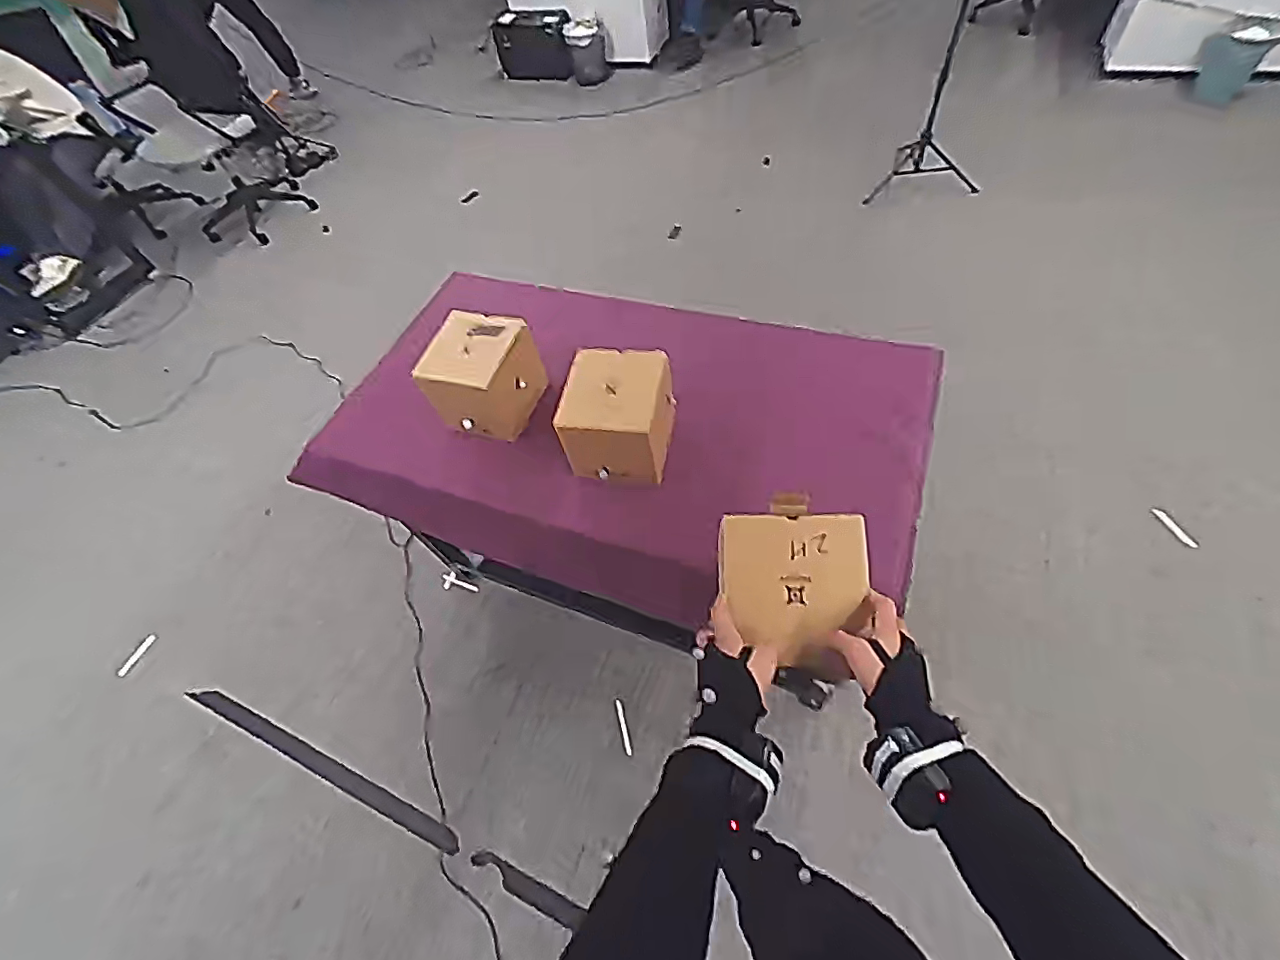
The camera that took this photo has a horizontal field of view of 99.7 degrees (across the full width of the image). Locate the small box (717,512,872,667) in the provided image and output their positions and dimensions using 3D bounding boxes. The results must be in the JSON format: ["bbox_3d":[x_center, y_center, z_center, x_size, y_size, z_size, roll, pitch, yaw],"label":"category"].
[{"bbox_3d":[0.187,0.145,0.702,0.168,0.176,0.179,-1,72,6],"label":"small box"}]

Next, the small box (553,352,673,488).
[{"bbox_3d":[-0.038,-0.108,0.979,0.168,0.176,0.179,5,58,14],"label":"small box"}]

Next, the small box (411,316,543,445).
[{"bbox_3d":[-0.312,-0.198,1.082,0.168,0.176,0.179,11,61,16],"label":"small box"}]
